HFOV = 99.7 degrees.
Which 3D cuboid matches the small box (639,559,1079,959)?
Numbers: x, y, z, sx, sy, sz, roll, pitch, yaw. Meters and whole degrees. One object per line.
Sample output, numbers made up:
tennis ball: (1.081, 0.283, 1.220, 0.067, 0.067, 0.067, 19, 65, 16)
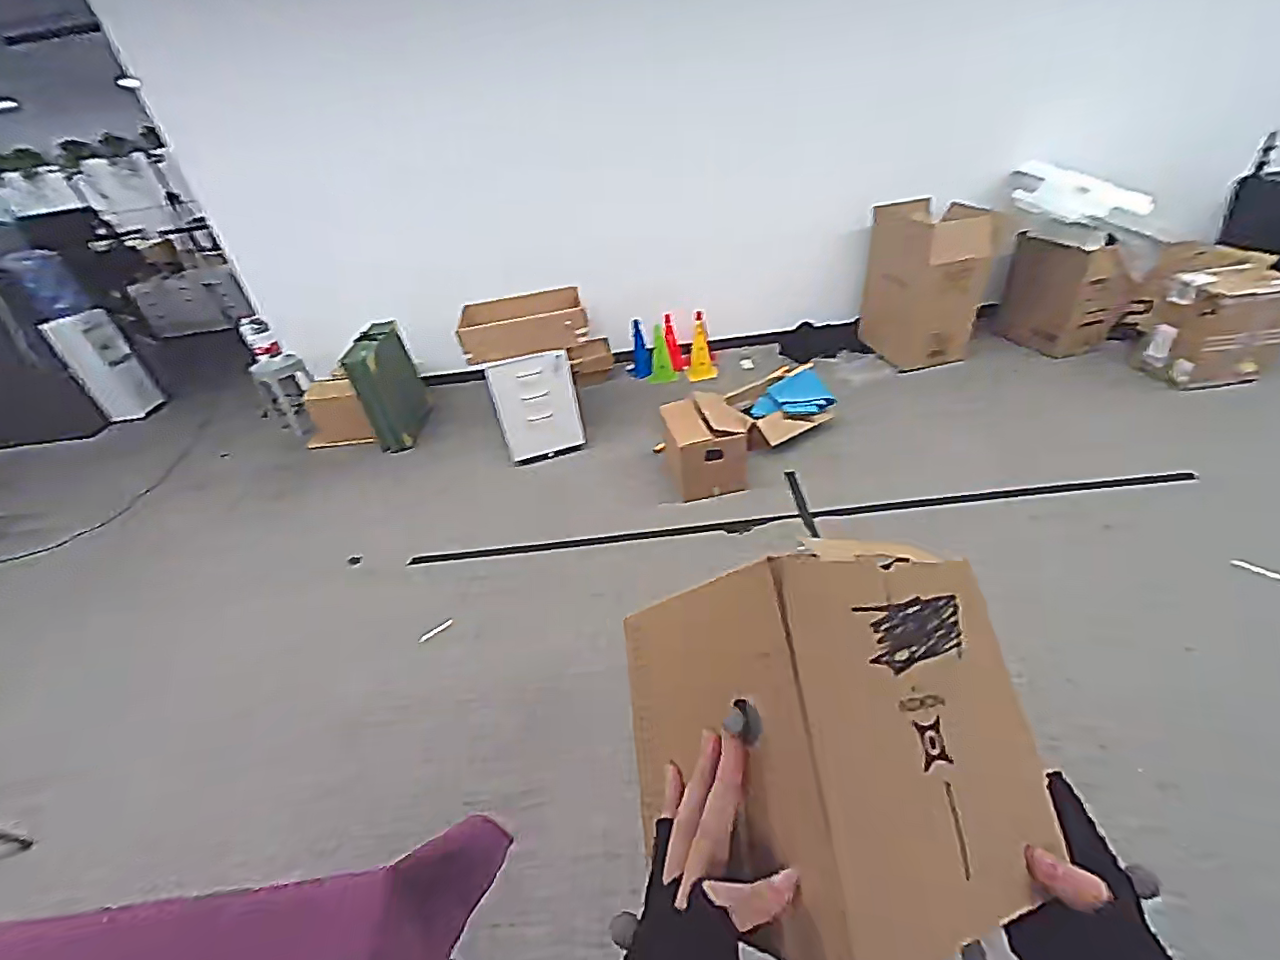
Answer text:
small box: (0.110, 0.159, 0.340, 0.168, 0.176, 0.179, 5, 64, -27)
